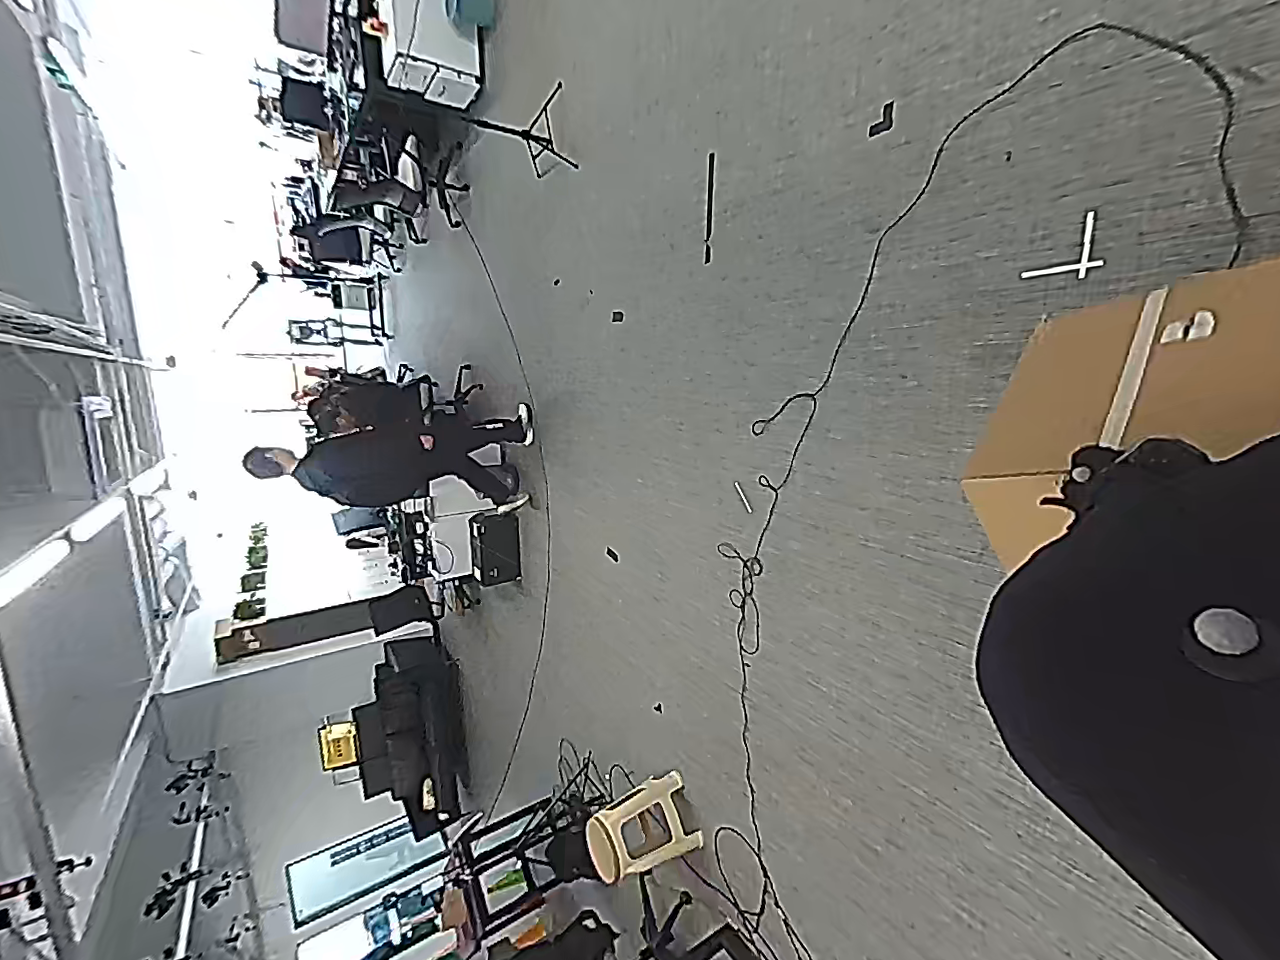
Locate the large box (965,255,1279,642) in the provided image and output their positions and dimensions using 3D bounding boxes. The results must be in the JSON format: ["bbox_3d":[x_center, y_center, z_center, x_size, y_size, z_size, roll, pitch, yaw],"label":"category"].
[{"bbox_3d":[0.737,-0.039,0.759,0.320,0.408,0.320,52,153,-19],"label":"large box"}]
